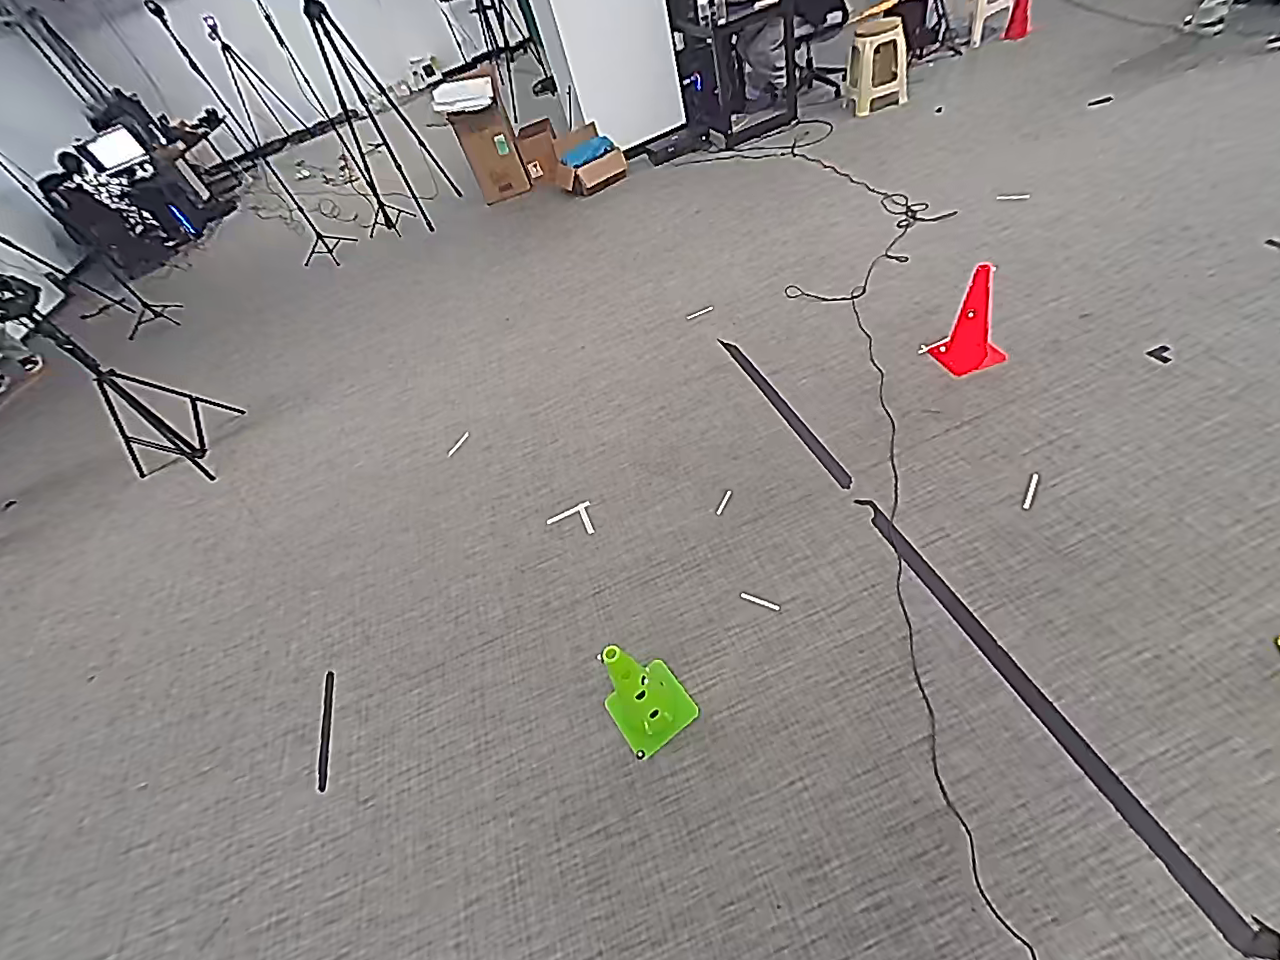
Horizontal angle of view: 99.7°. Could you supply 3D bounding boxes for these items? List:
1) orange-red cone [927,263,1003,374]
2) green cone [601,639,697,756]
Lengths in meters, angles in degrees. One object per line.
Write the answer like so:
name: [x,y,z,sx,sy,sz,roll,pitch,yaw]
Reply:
orange-red cone: [1.161,-0.583,1.888,0.198,0.360,0.199,-19,47,4]
green cone: [-0.017,0.496,1.341,0.200,0.368,0.202,-35,46,-13]
